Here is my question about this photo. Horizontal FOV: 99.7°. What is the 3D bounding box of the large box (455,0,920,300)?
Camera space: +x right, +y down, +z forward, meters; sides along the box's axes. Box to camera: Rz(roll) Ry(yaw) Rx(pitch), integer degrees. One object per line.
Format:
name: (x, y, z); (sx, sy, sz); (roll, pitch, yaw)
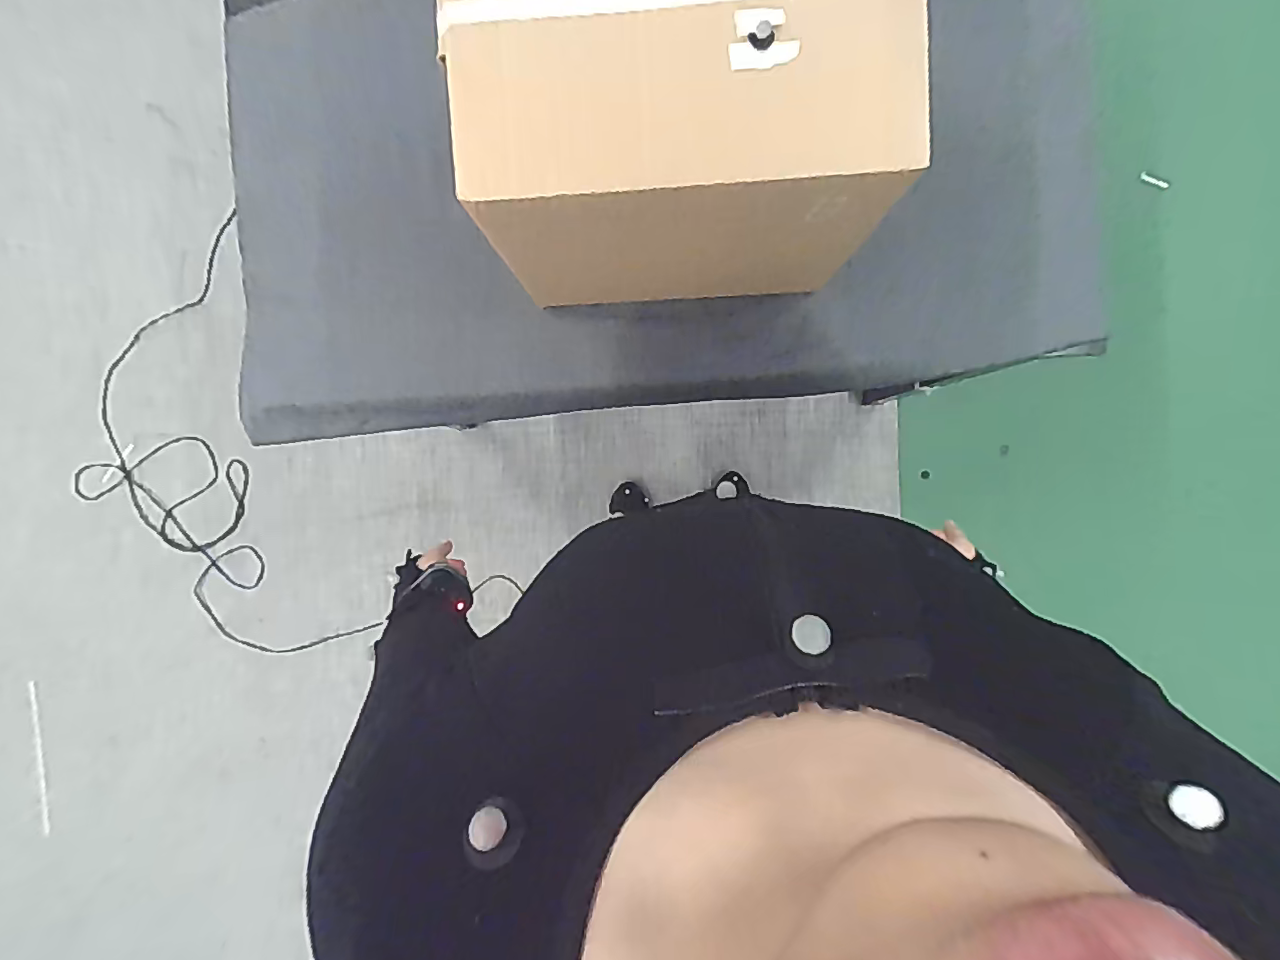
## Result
large box: (0.038, -0.419, 0.619); (0.408, 0.320, 0.320); (-3, 92, 2)
